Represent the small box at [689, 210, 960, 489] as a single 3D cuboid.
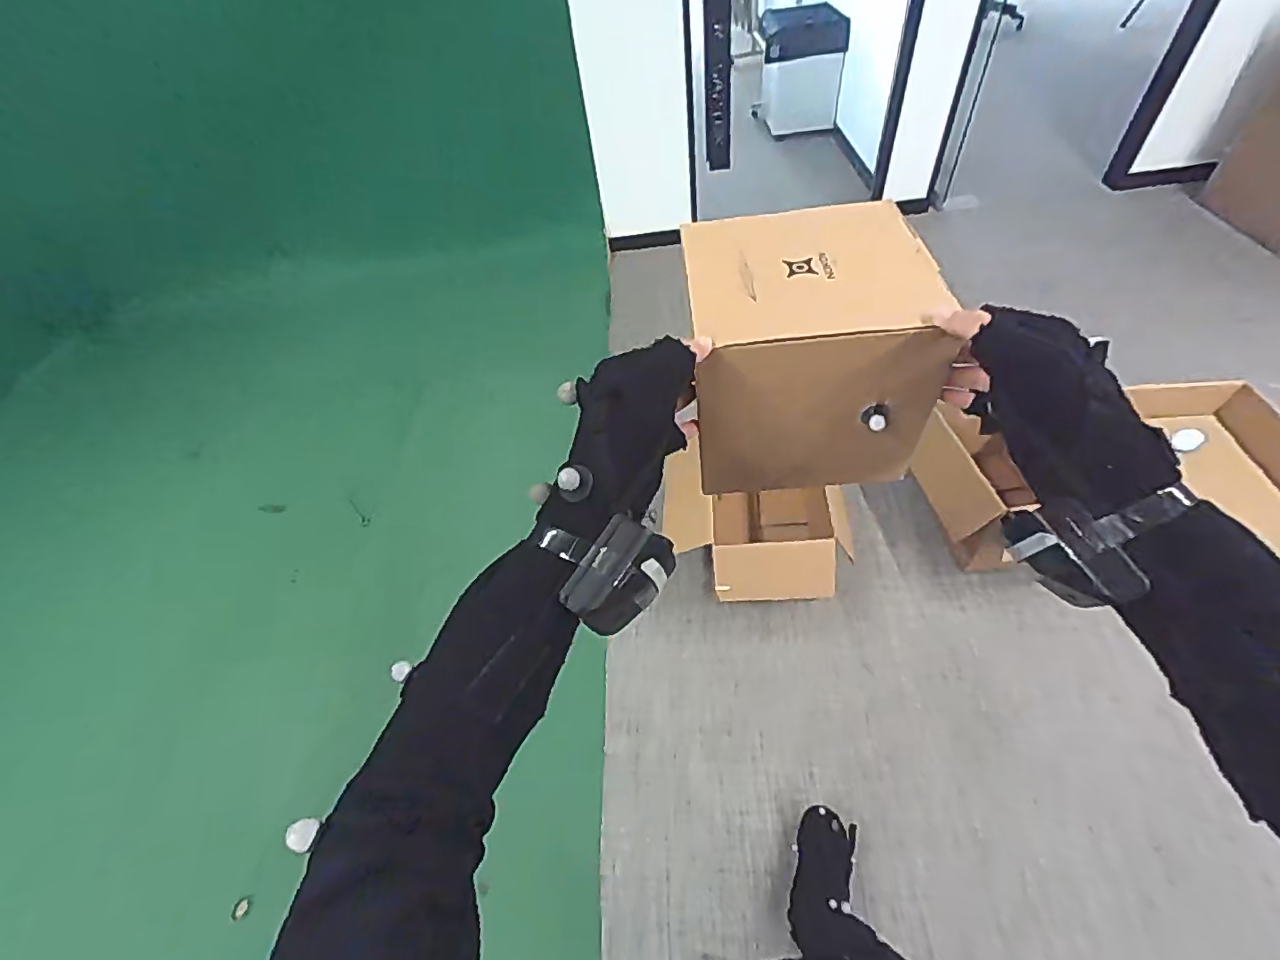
[{"bbox_3d":[0.135,-0.107,0.474,0.179,0.176,0.168,-4,51,4],"label":"small box"}]
